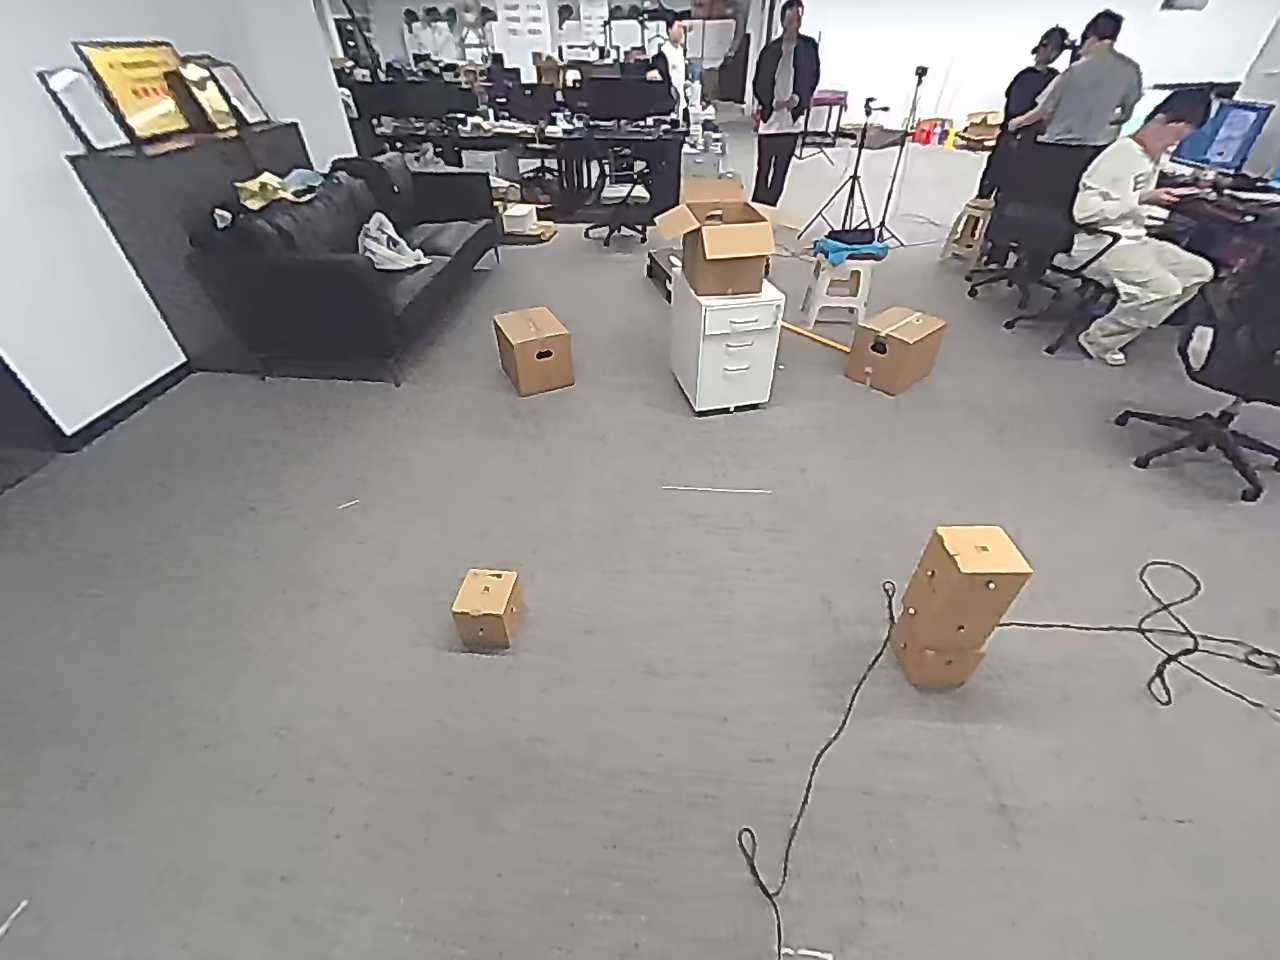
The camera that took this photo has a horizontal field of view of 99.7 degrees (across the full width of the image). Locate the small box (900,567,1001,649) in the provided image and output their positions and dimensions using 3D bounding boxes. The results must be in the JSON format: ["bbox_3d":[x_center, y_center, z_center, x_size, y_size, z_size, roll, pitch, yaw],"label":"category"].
[{"bbox_3d":[0.876,0.366,1.543,0.179,0.176,0.168,-1,38,2],"label":"small box"}]

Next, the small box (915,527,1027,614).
[{"bbox_3d":[0.868,0.242,1.437,0.179,0.176,0.168,-2,38,1],"label":"small box"}]

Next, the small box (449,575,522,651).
[{"bbox_3d":[-0.493,0.433,1.759,0.168,0.176,0.179,3,39,5],"label":"small box"}]

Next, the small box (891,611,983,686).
[{"bbox_3d":[0.881,0.505,1.630,0.179,0.176,0.168,-2,39,-2],"label":"small box"}]
